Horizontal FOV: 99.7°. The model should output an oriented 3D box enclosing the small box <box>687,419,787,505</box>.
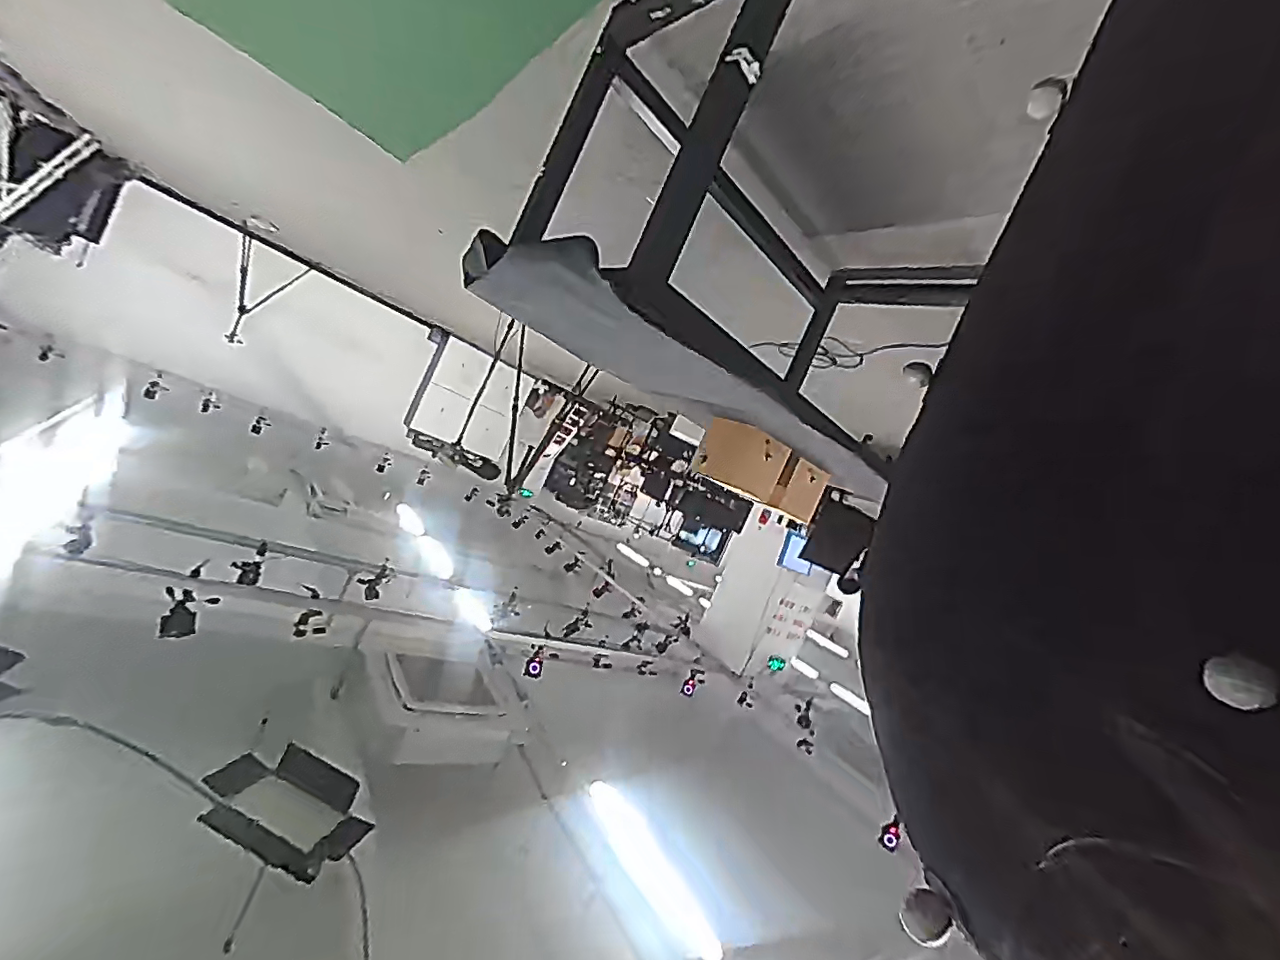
[{"bbox_3d":[0.268,-0.054,1.486,0.168,0.176,0.179,24,180,-38],"label":"small box"}]
